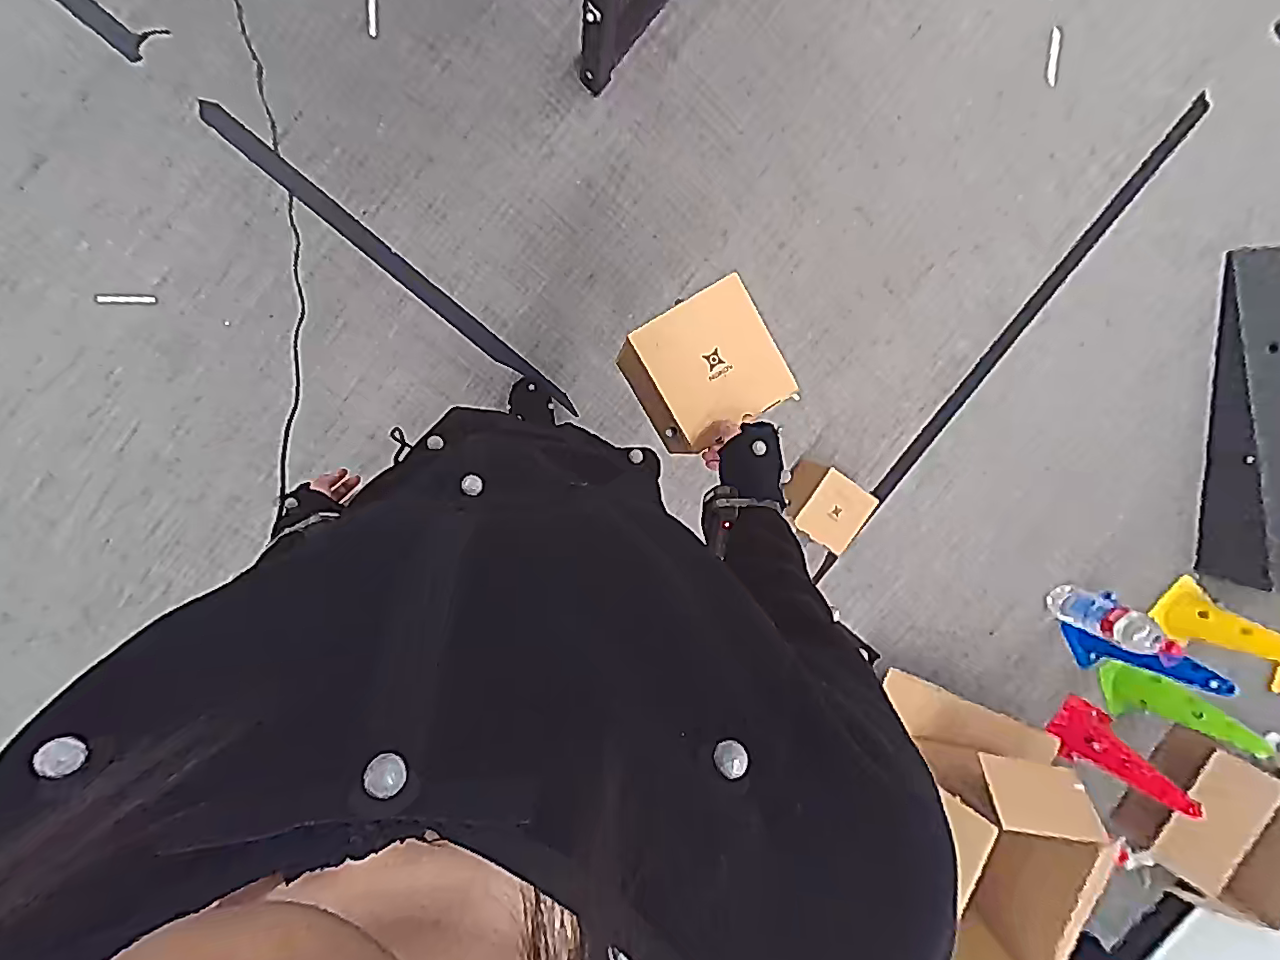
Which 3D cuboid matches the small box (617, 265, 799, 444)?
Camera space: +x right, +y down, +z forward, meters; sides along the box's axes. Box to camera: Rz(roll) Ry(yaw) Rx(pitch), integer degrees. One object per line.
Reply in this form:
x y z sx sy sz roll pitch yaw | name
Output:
0.083 -0.162 0.761 0.168 0.176 0.179 -33 98 -6 | small box

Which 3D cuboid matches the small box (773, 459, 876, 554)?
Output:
0.478 0.064 1.441 0.168 0.176 0.179 33 93 -13 | small box
